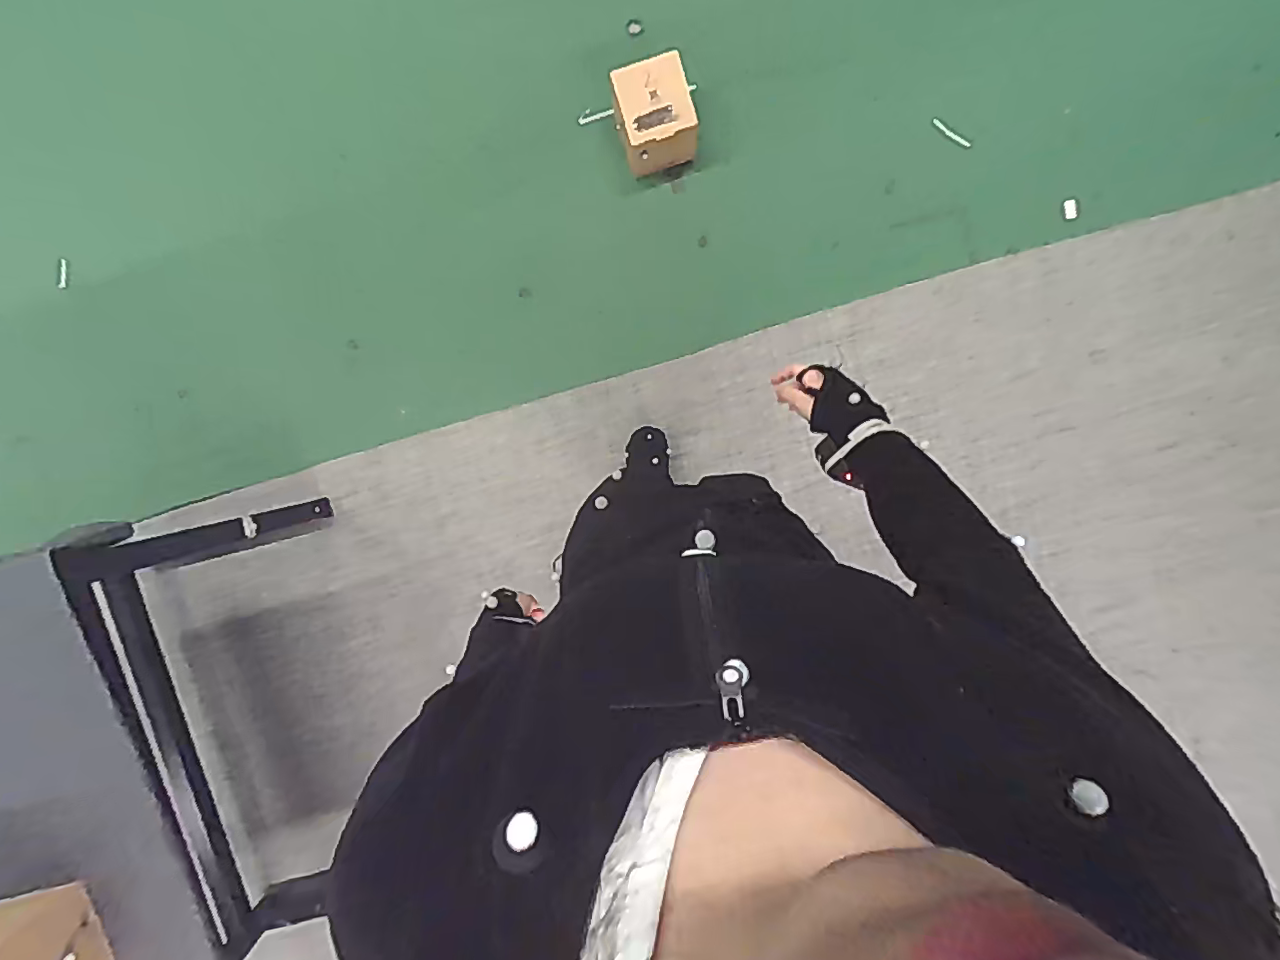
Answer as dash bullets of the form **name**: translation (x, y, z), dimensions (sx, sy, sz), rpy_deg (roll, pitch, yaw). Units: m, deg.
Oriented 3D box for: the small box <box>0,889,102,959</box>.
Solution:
- **small box**: translation (-0.937, 0.733, 0.765), dimensions (0.179, 0.176, 0.168), rpy_deg (-15, 96, 3)
